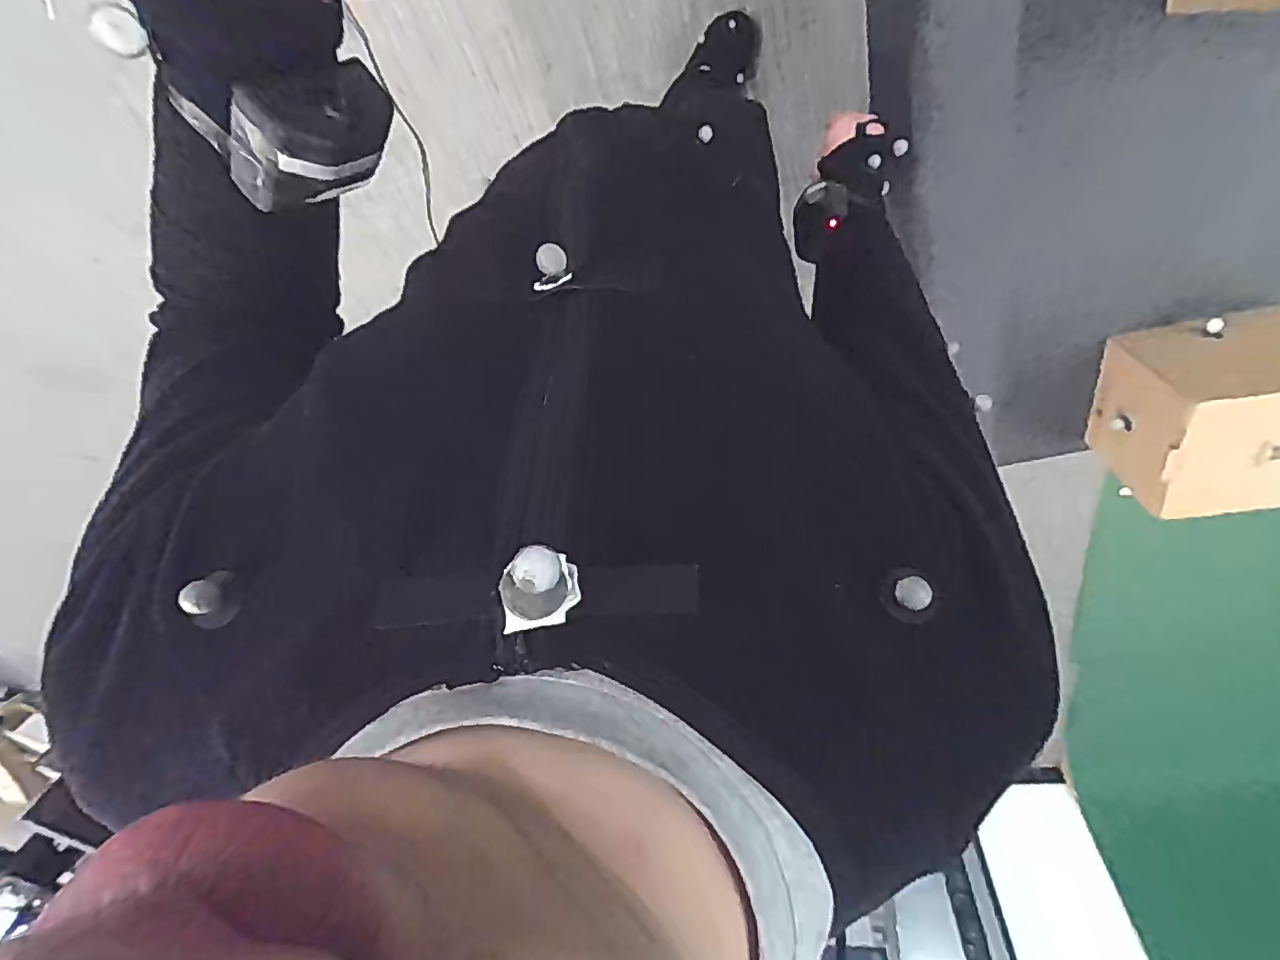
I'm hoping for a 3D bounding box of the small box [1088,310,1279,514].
[{"bbox_3d":[0.688,-0.083,0.651,0.179,0.176,0.168,-9,126,17],"label":"small box"}]
